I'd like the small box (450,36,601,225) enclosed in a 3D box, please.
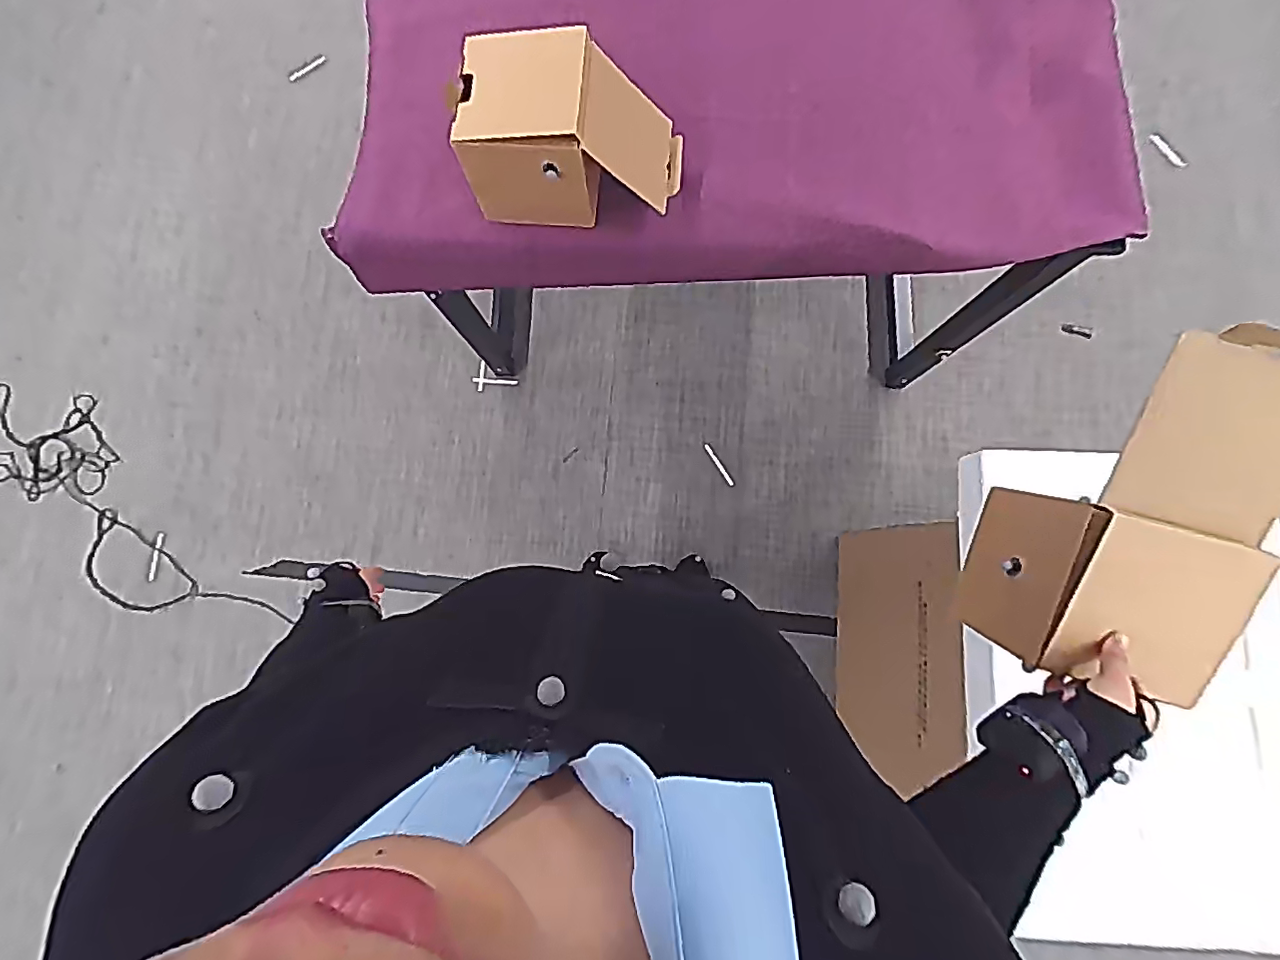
[{"bbox_3d":[-0.155,-0.502,0.798,0.179,0.176,0.168,4,80,3],"label":"small box"}]
